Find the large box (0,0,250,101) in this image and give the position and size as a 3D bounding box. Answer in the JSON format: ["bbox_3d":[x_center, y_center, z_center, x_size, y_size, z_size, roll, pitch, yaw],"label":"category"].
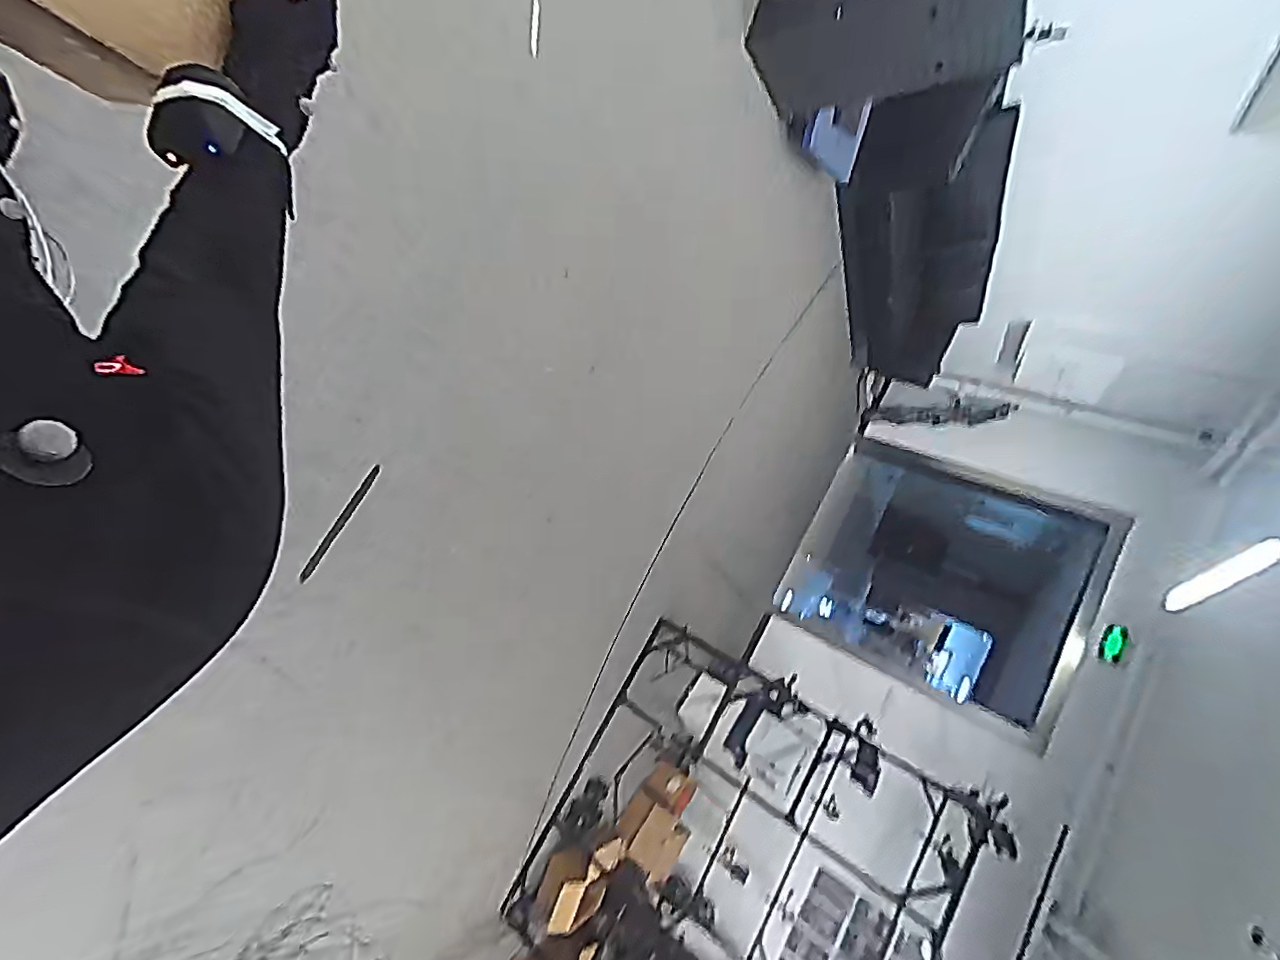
[{"bbox_3d":[-0.521,-0.542,0.353,0.408,0.320,0.320,15,100,-61],"label":"large box"}]
